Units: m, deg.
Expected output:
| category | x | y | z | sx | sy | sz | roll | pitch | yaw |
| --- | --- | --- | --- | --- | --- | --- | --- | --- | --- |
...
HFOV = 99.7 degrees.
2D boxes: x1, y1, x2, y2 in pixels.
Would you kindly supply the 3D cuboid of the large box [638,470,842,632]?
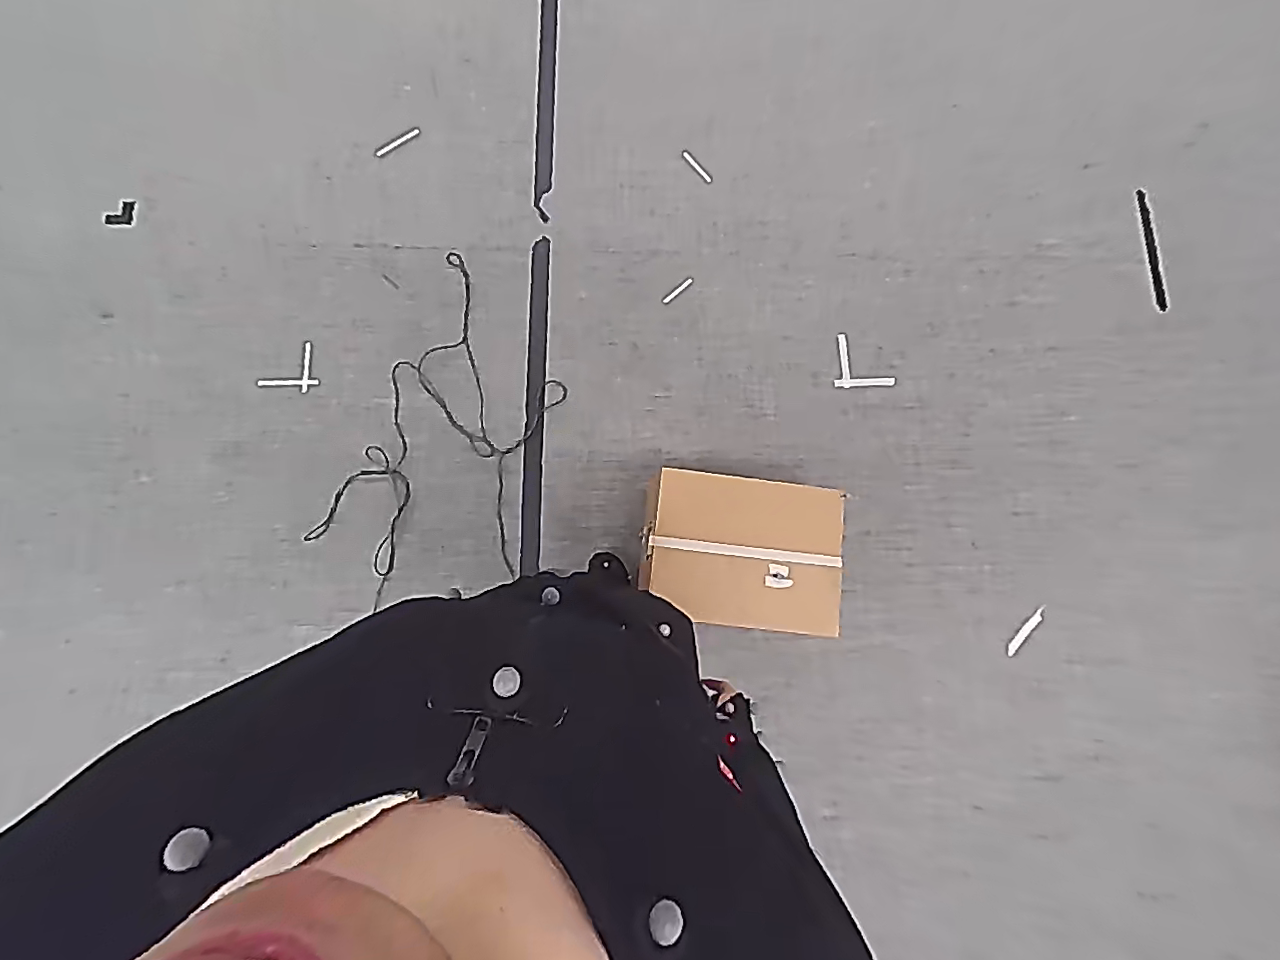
| category | x | y | z | sx | sy | sz | roll | pitch | yaw |
| --- | --- | --- | --- | --- | --- | --- | --- | --- | --- |
| large box | 0.215 | 0.171 | 1.281 | 0.408 | 0.320 | 0.320 | 7 | 81 | -4 |
